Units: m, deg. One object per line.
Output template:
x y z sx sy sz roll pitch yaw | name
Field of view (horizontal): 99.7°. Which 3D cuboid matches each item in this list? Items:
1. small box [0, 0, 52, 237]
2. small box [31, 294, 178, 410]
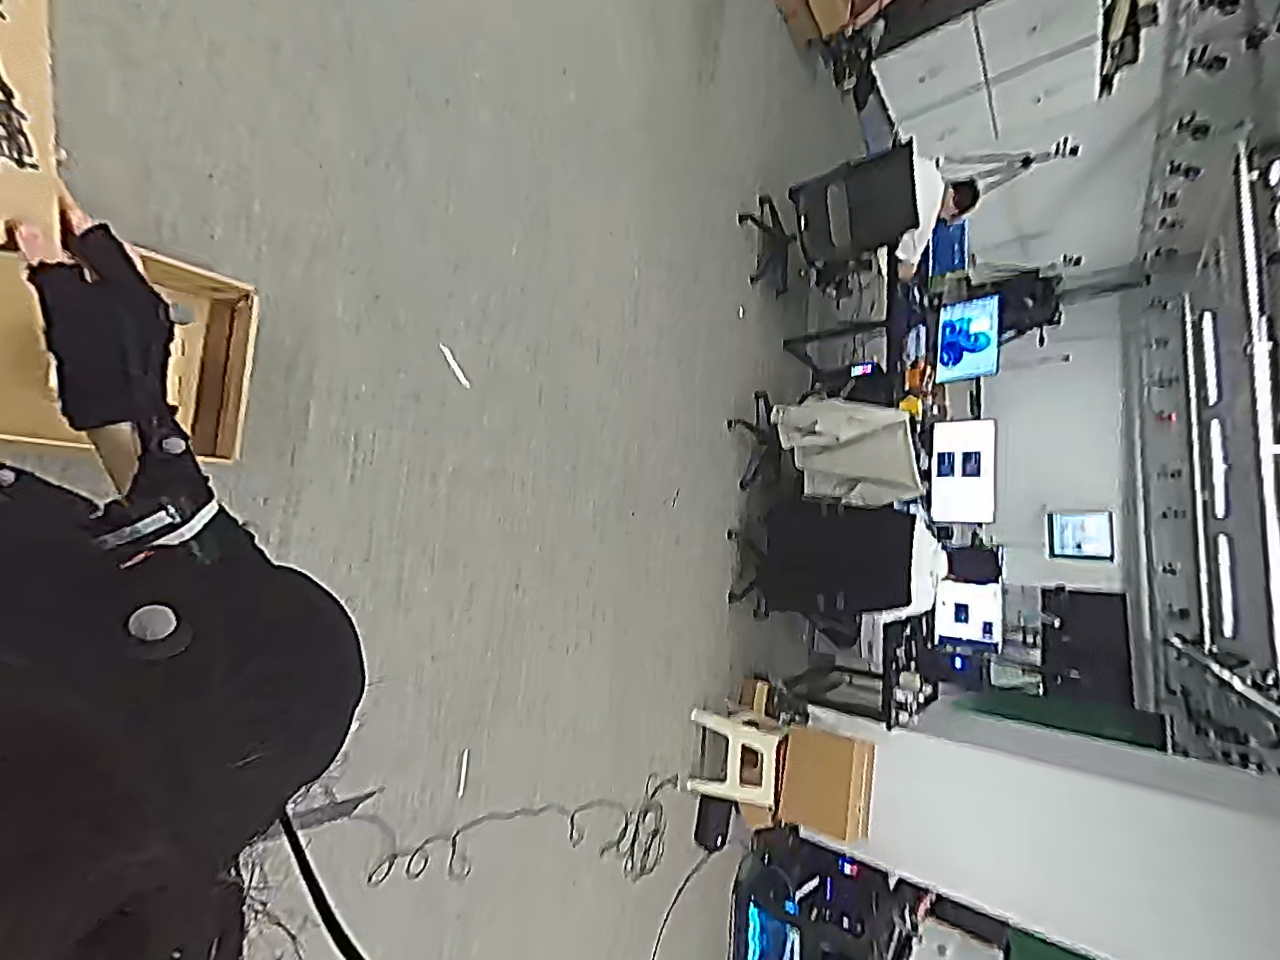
-0.462 -0.235 0.276 0.179 0.176 0.168 -13 114 -66 | small box
-1.032 -0.234 1.044 0.179 0.176 0.168 8 82 -49 | small box
